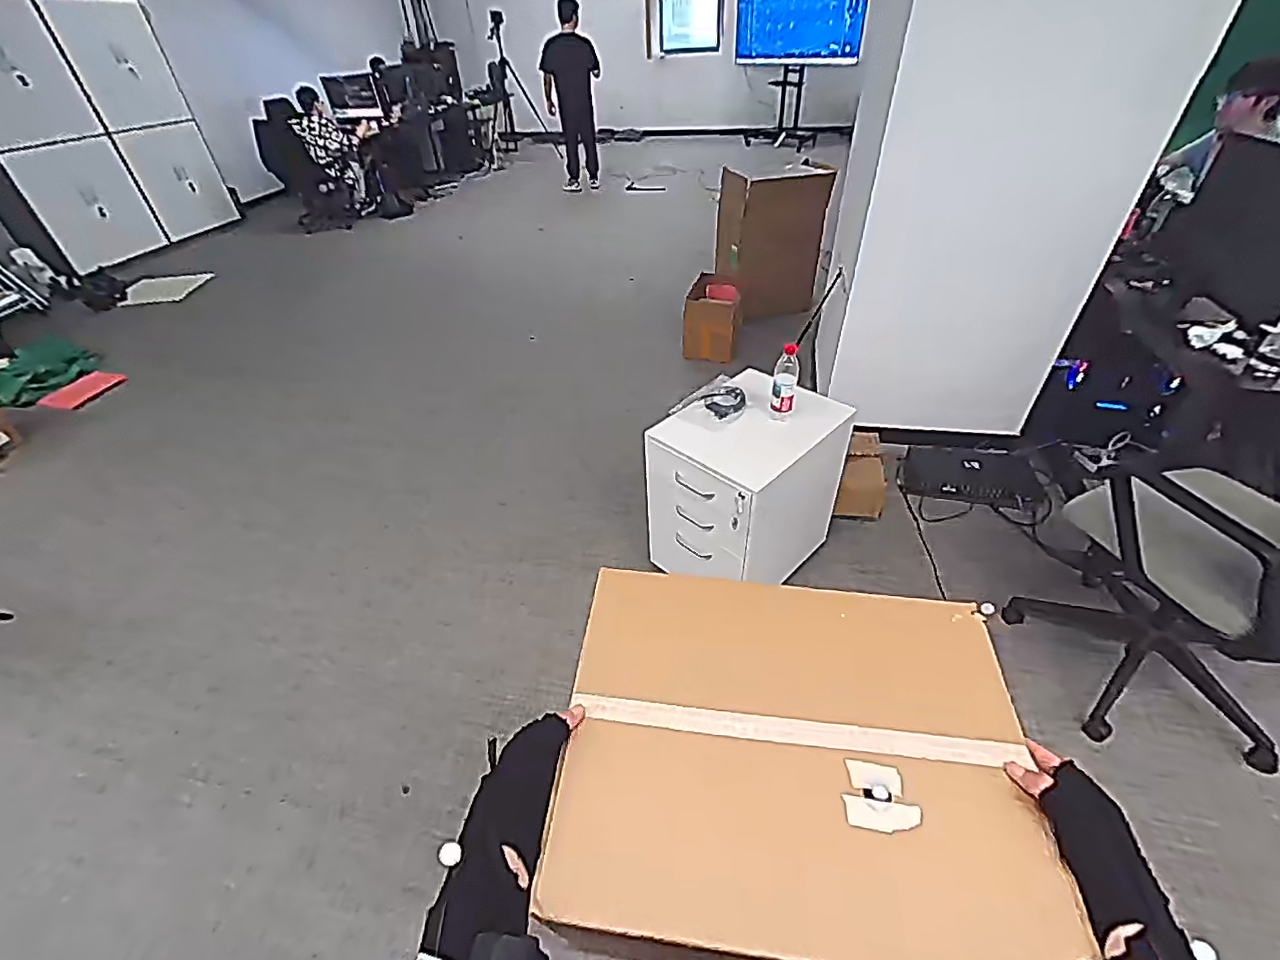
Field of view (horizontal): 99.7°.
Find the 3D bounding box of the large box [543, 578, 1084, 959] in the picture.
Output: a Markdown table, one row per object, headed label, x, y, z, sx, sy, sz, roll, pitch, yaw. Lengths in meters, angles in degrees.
| label | x | y | z | sx | sy | sz | roll | pitch | yaw |
| --- | --- | --- | --- | --- | --- | --- | --- | --- | --- |
| large box | 0.139 | 0.338 | 0.604 | 0.408 | 0.320 | 0.320 | 5 | 47 | 6 |
